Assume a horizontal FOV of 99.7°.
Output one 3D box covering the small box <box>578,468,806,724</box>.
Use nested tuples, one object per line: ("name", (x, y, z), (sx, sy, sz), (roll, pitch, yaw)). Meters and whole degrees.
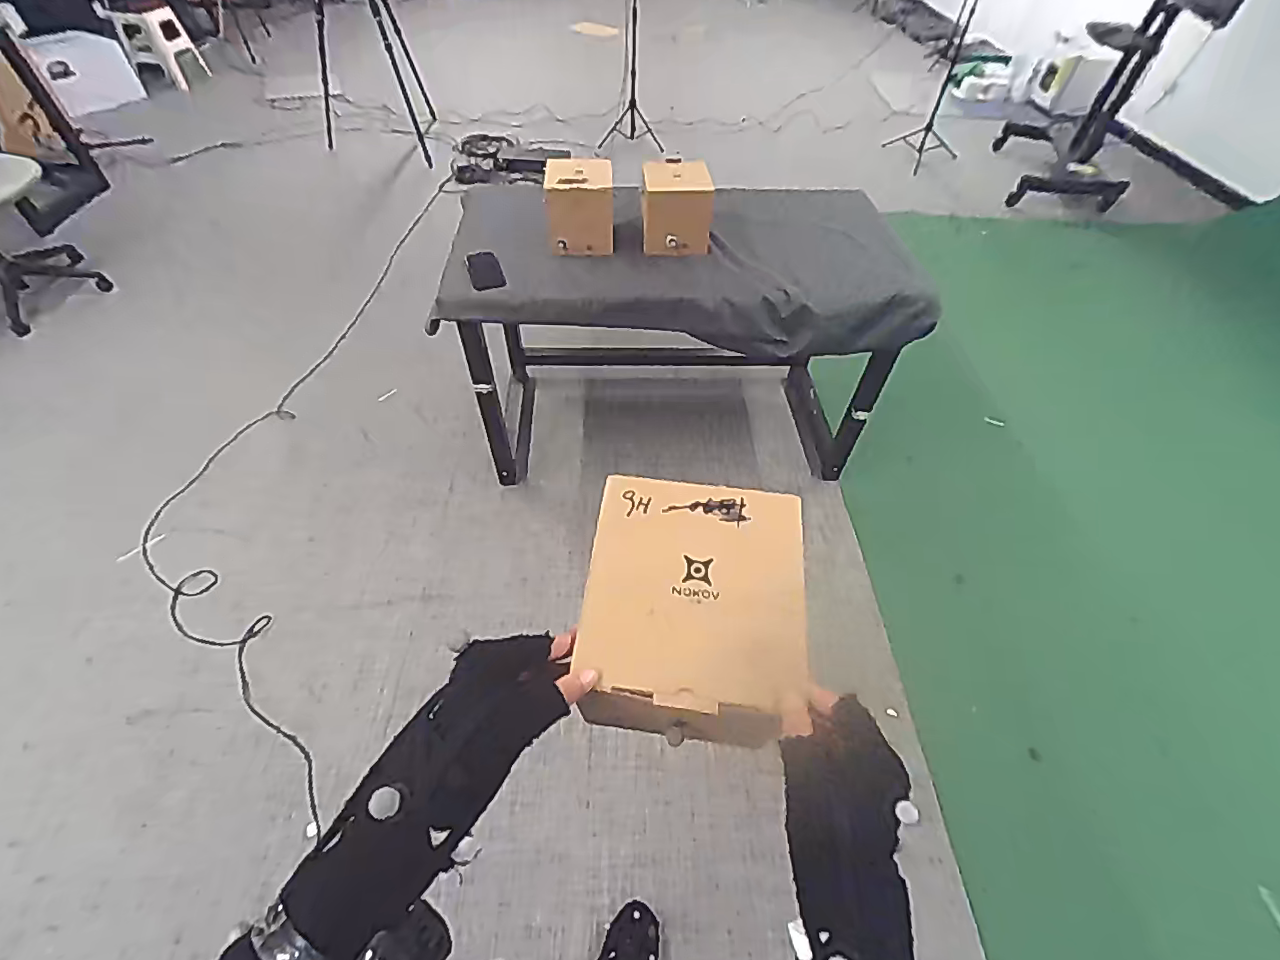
("small box", (0.046, 0.112, 0.490), (0.168, 0.176, 0.179), (7, 59, 3))

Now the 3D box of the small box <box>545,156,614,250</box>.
("small box", (-0.150, -0.711, 1.395), (0.168, 0.176, 0.179), (-1, 50, -4))

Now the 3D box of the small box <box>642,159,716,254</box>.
("small box", (0.095, -0.713, 1.414), (0.168, 0.176, 0.179), (-3, 53, -4))
